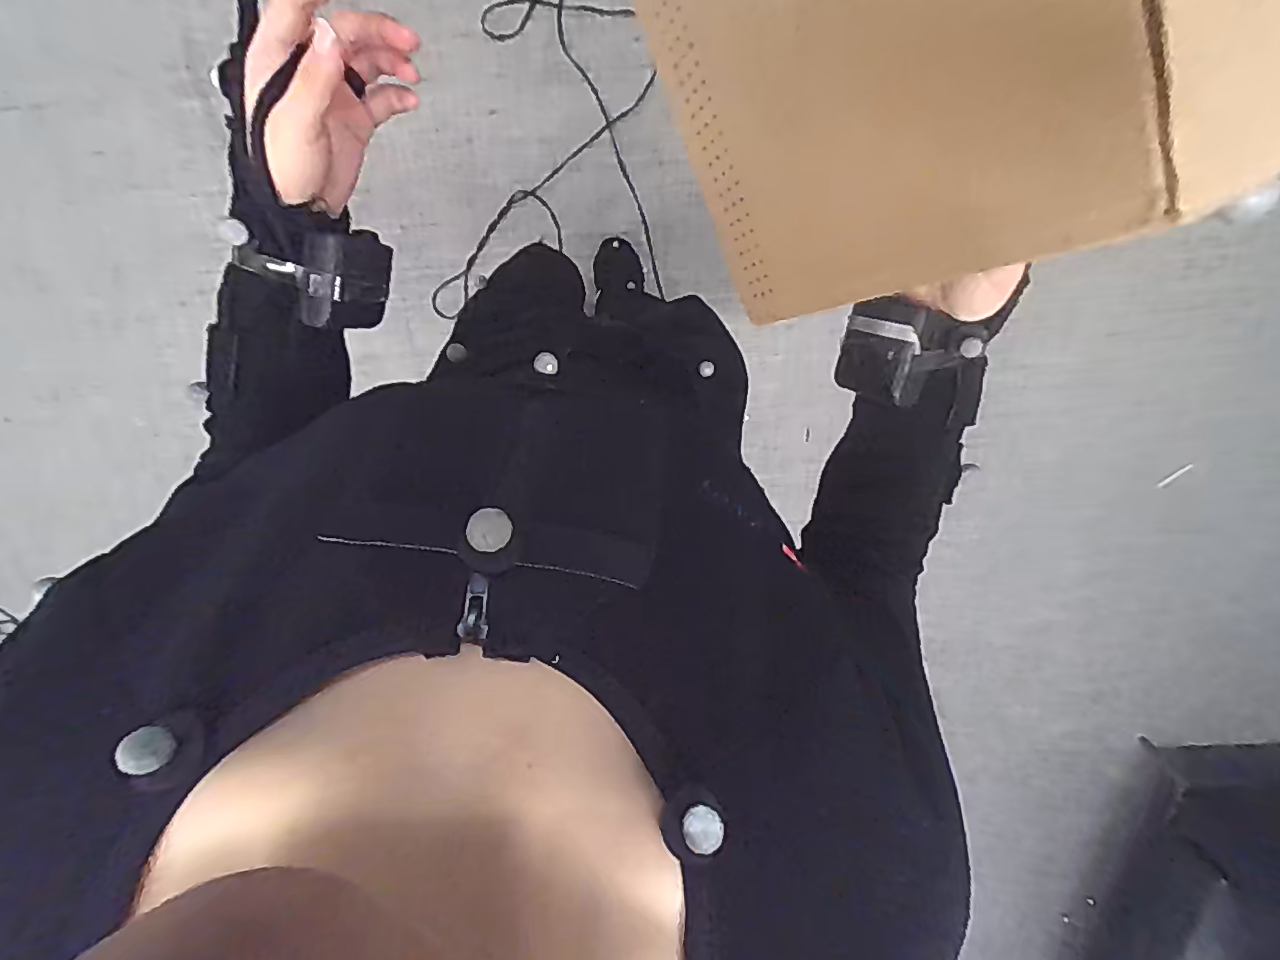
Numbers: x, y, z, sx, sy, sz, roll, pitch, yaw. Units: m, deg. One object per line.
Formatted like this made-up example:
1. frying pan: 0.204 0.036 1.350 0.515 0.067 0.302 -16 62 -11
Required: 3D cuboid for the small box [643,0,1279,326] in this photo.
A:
1. small box: 0.117 -0.174 0.187 0.168 0.176 0.179 -29 105 -11
